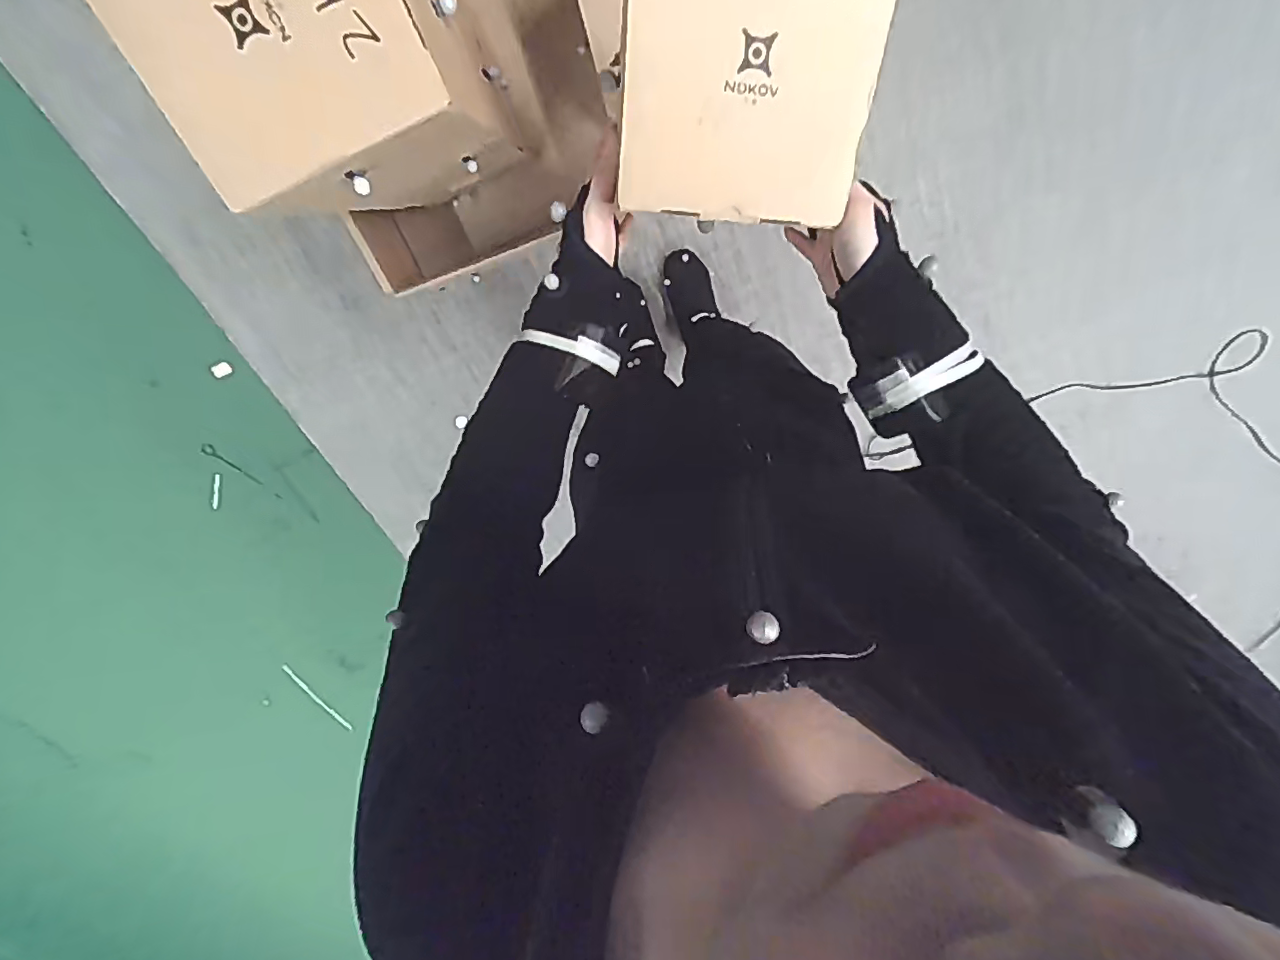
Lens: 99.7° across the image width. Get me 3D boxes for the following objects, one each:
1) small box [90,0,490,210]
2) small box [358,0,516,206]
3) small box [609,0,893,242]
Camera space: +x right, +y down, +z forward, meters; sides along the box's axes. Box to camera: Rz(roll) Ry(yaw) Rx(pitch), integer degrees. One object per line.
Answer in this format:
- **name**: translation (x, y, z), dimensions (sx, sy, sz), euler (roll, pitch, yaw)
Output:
- **small box**: translation (-0.235, -0.315, 0.400), dimensions (0.179, 0.176, 0.168), euler (-21, 117, 6)
- **small box**: translation (-0.246, -0.391, 0.546), dimensions (0.179, 0.176, 0.168), euler (-20, 116, 6)
- **small box**: translation (0.064, -0.298, 0.419), dimensions (0.168, 0.176, 0.179), euler (3, 121, -7)
